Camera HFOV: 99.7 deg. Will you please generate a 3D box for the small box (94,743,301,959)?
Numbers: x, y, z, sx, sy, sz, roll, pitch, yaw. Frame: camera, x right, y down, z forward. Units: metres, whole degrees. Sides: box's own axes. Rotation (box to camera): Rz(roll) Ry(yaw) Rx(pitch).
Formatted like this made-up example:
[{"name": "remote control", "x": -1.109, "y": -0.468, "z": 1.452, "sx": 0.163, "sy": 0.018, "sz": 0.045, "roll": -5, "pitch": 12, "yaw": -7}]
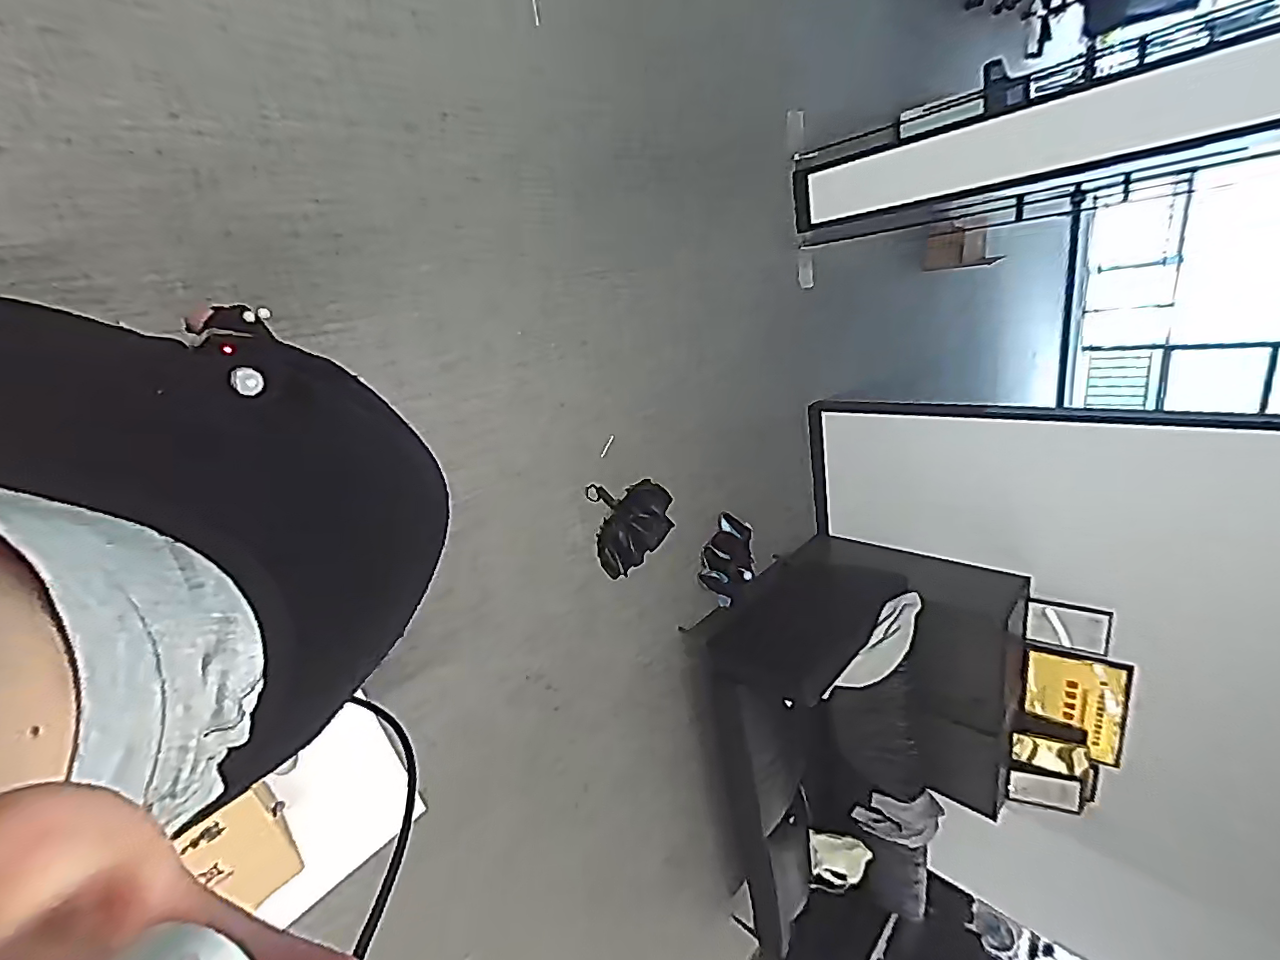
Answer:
[{"name": "small box", "x": -0.625, "y": 0.521, "z": 0.772, "sx": 0.168, "sy": 0.176, "sz": 0.179, "roll": -31, "pitch": 119, "yaw": -37}]
